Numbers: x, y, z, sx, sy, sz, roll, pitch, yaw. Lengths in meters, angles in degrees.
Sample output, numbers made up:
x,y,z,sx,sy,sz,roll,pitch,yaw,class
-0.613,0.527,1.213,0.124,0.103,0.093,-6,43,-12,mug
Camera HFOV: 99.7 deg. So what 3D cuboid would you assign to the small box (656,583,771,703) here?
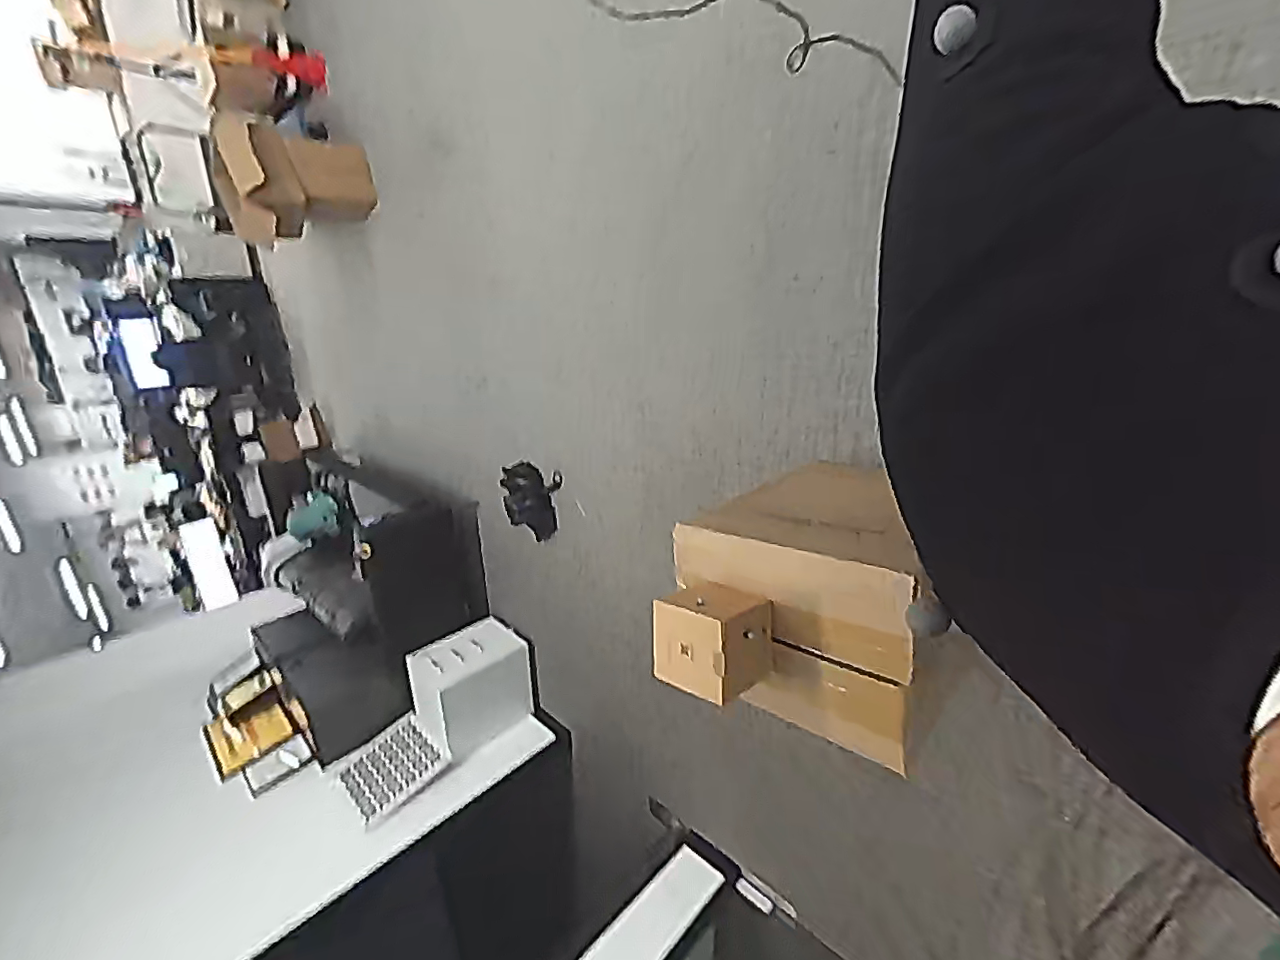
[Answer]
x,y,z,sx,sy,sz,roll,pitch,yaw,class
0.152,0.319,1.101,0.179,0.176,0.168,5,99,46,small box
